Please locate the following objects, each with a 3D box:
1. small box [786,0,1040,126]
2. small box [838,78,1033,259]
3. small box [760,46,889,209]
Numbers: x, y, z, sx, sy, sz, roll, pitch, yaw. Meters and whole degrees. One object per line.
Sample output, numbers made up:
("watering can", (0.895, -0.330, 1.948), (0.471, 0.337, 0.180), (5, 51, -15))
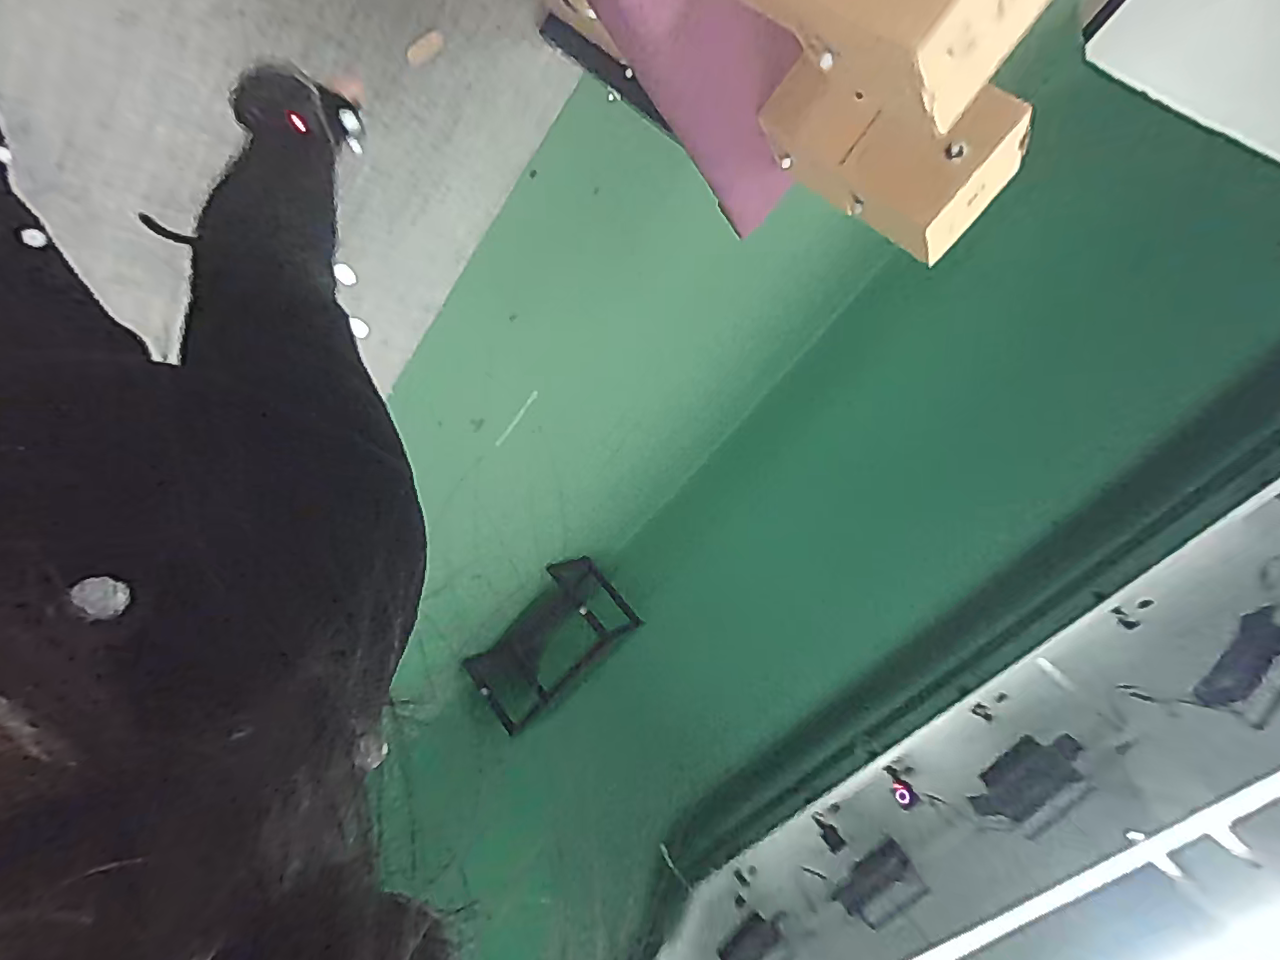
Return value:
("small box", (0.247, -0.460, 0.460), (0.168, 0.176, 0.179), (-12, 145, -55))
("small box", (0.425, -0.471, 0.798), (0.179, 0.176, 0.168), (-51, 158, 21))
("small box", (0.322, -0.583, 0.857), (0.179, 0.176, 0.168), (-49, 159, 18))
